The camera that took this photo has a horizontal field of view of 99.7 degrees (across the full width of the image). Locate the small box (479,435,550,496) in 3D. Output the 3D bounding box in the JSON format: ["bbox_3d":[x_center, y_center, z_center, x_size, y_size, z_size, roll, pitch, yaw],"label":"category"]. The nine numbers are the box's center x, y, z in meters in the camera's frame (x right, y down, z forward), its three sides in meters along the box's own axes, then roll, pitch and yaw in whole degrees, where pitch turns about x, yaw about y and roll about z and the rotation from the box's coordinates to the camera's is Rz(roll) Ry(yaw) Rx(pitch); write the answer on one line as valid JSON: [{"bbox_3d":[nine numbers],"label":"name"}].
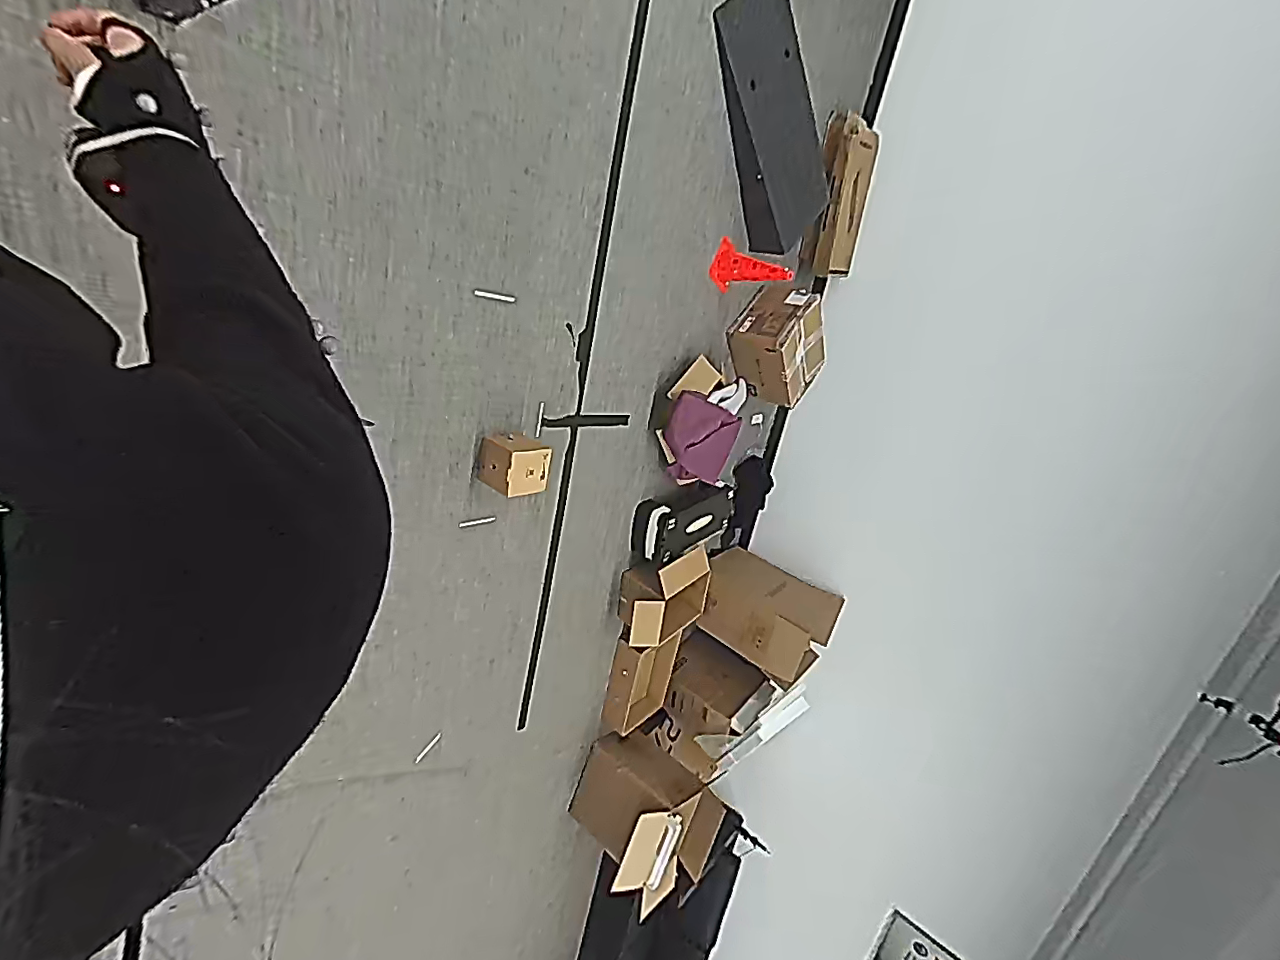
[{"bbox_3d":[-0.448,-0.057,1.913,0.179,0.176,0.168,-10,118,-50],"label":"small box"}]
